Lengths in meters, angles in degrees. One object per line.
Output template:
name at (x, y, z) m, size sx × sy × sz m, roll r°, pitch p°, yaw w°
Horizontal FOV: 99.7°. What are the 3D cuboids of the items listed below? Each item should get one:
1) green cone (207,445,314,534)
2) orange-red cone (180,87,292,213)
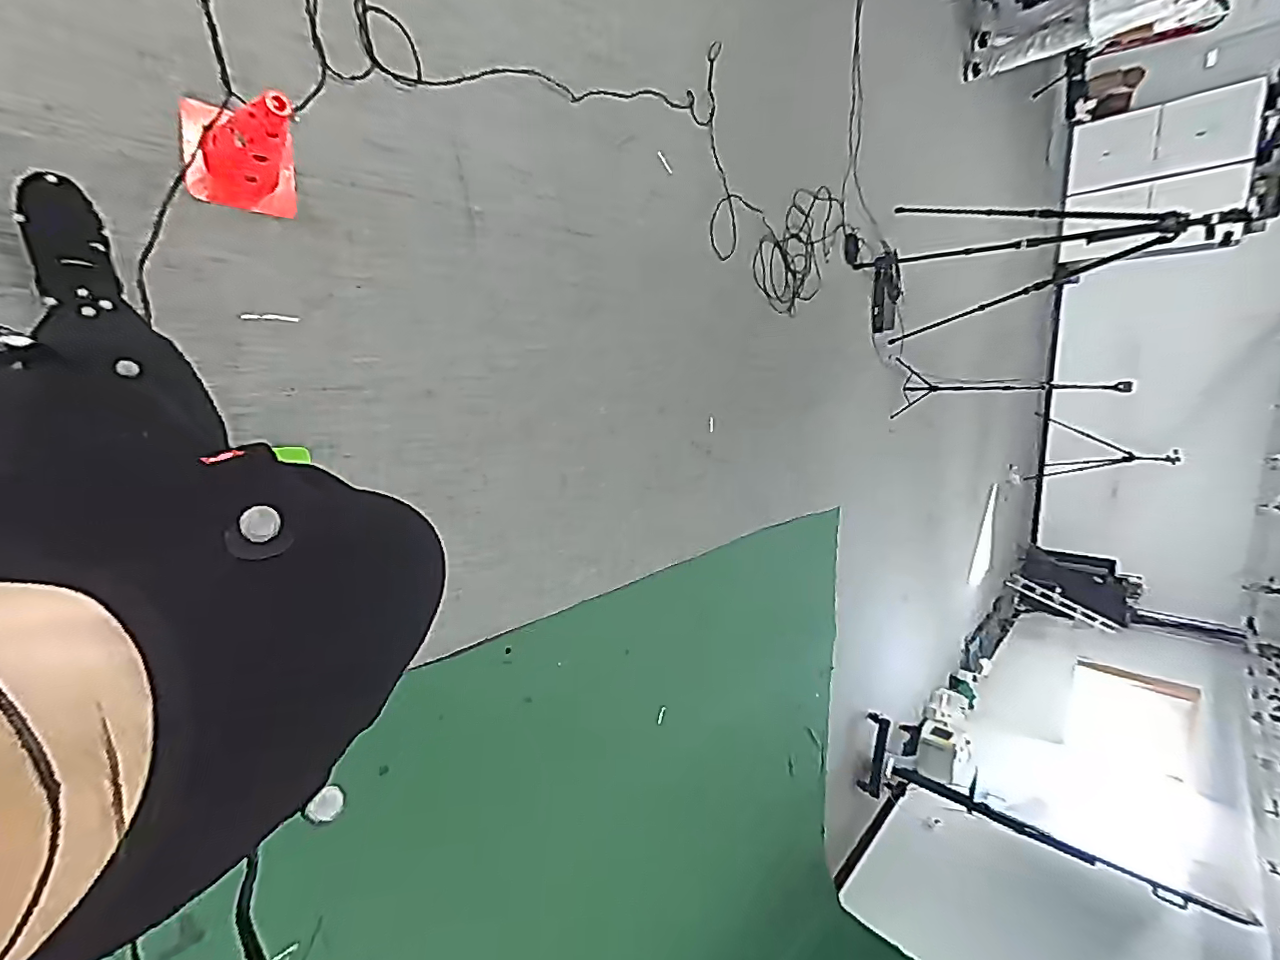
green cone at (-0.775, 0.036, 1.168) m, size 0.200 × 0.368 × 0.202 m, roll -9°, pitch 101°, yaw -45°
orange-red cone at (-0.764, -0.689, 1.070) m, size 0.198 × 0.360 × 0.199 m, roll -5°, pitch 101°, yaw -44°
